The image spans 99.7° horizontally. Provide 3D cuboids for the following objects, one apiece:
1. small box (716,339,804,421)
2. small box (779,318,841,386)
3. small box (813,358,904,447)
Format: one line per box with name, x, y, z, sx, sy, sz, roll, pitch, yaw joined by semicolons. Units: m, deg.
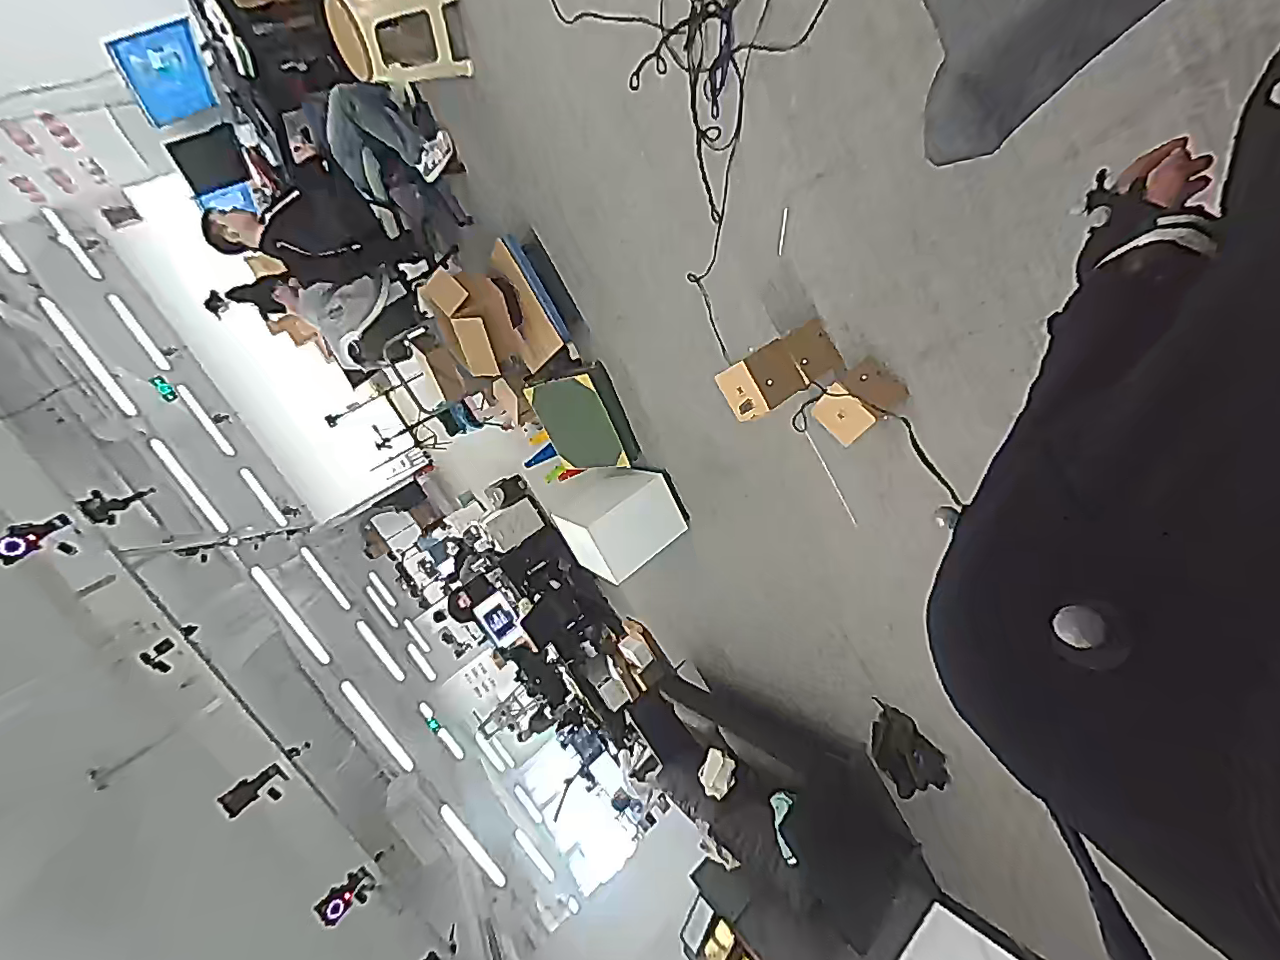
small box;0.380;-0.314;1.700;0.179;0.176;0.168;59;156;-7
small box;0.512;-0.394;1.760;0.168;0.176;0.179;56;157;-2
small box;0.676;-0.241;1.662;0.168;0.176;0.179;49;157;13
